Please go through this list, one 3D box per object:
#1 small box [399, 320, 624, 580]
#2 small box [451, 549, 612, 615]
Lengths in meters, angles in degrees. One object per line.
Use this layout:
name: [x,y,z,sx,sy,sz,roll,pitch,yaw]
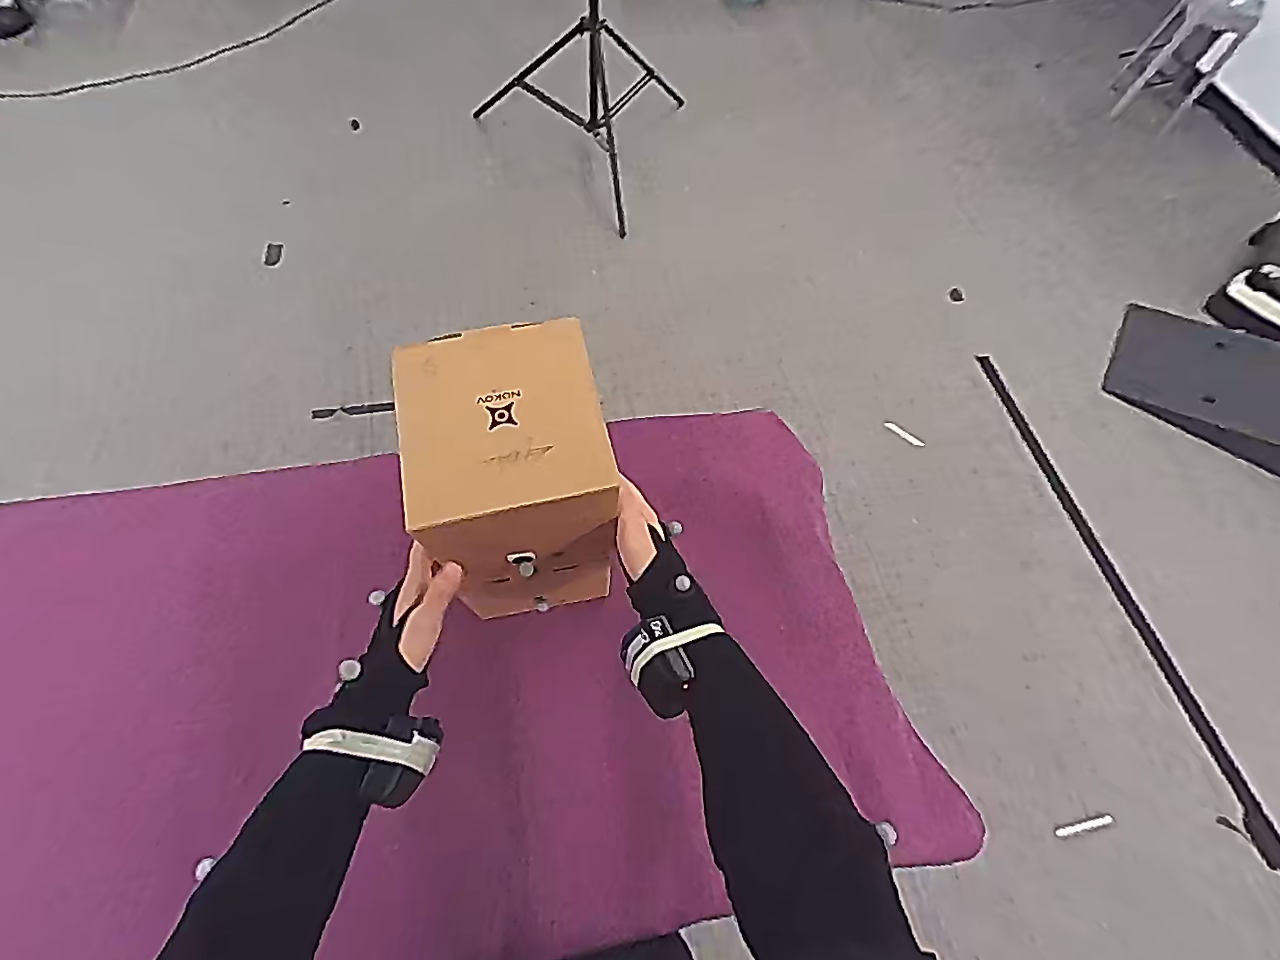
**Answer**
small box: [-0.116,-0.022,0.518,0.168,0.176,0.179,-11,67,-9]
small box: [-0.131,0.052,0.663,0.168,0.176,0.179,-9,67,-8]
